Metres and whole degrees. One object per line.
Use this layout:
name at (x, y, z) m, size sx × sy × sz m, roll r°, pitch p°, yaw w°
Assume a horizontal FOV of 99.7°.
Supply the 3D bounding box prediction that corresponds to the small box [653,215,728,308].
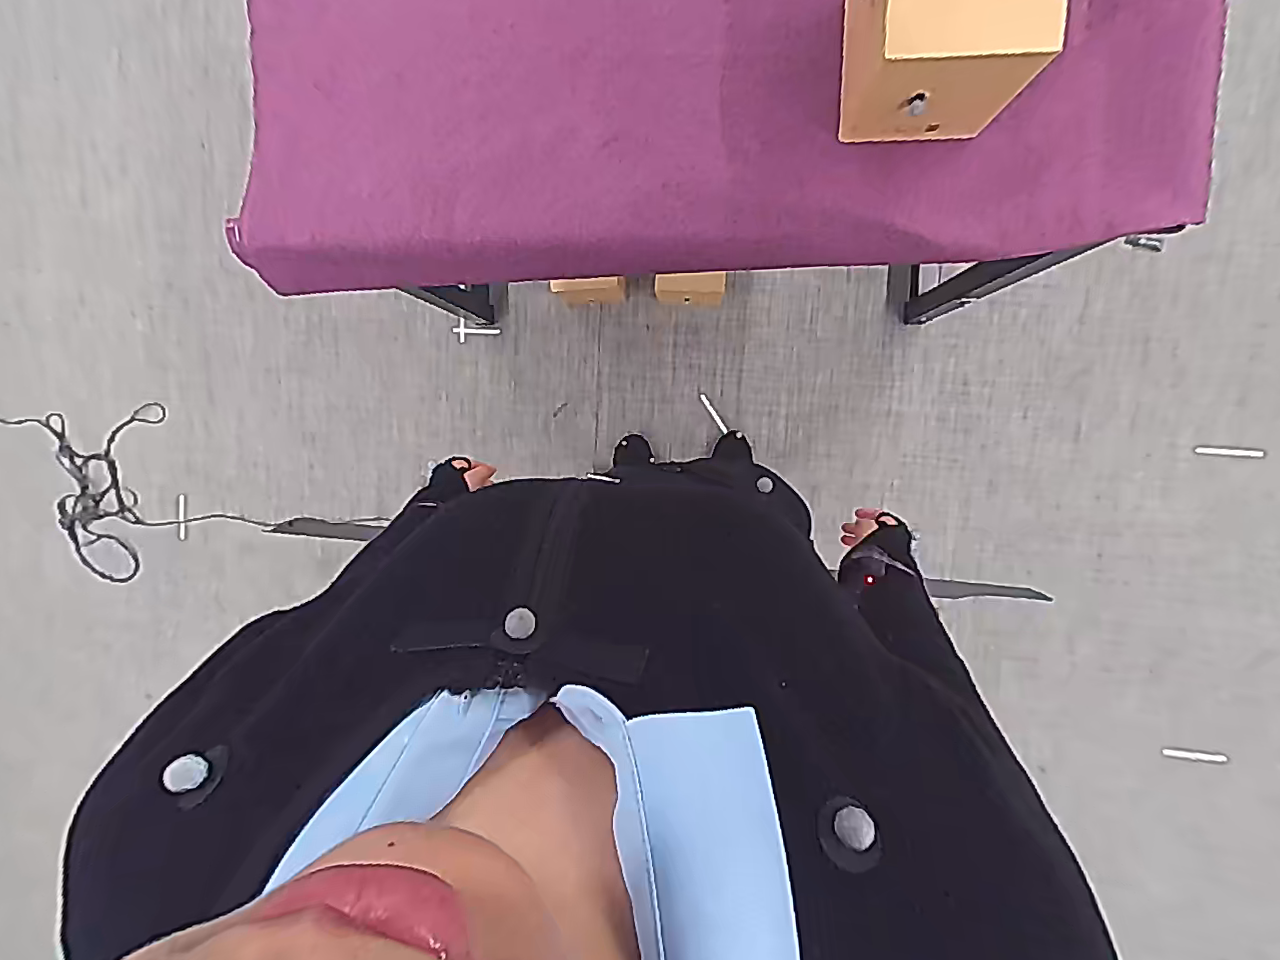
small box at (0.127, -0.536, 1.348) m, size 0.168 × 0.176 × 0.179 m, roll 4°, pitch 96°, yaw 4°

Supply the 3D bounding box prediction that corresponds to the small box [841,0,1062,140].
small box at (0.330, -0.503, 0.598) m, size 0.168 × 0.176 × 0.179 m, roll 2°, pitch 96°, yaw 5°
